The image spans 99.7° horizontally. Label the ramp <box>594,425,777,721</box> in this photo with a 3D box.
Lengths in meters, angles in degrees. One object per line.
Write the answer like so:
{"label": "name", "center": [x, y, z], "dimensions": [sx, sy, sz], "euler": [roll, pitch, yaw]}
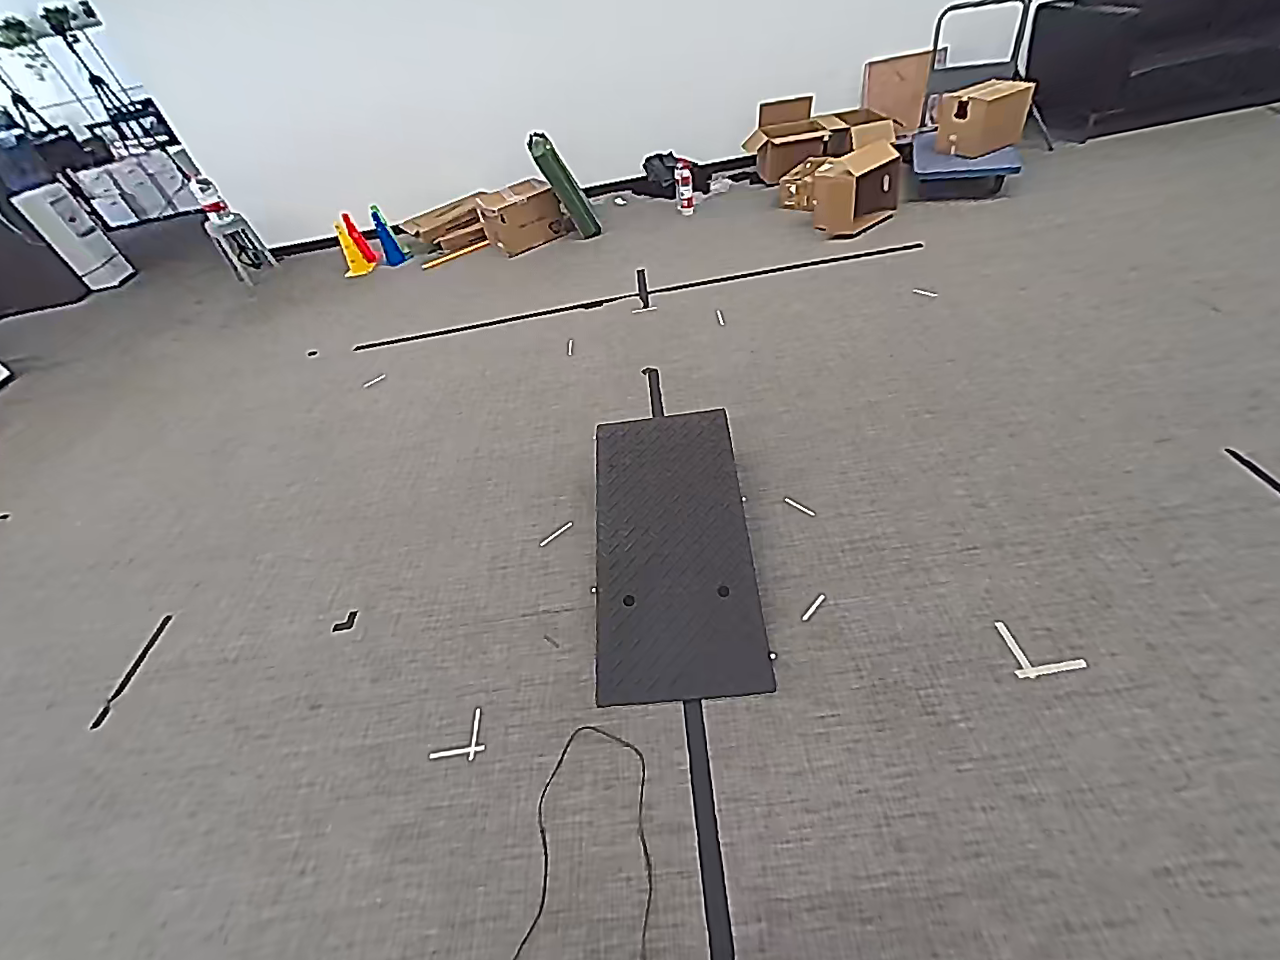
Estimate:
{"label": "ramp", "center": [0.100, 0.230, 1.757], "dimensions": [0.509, 0.206, 0.991], "euler": [-9, 43, 3]}
